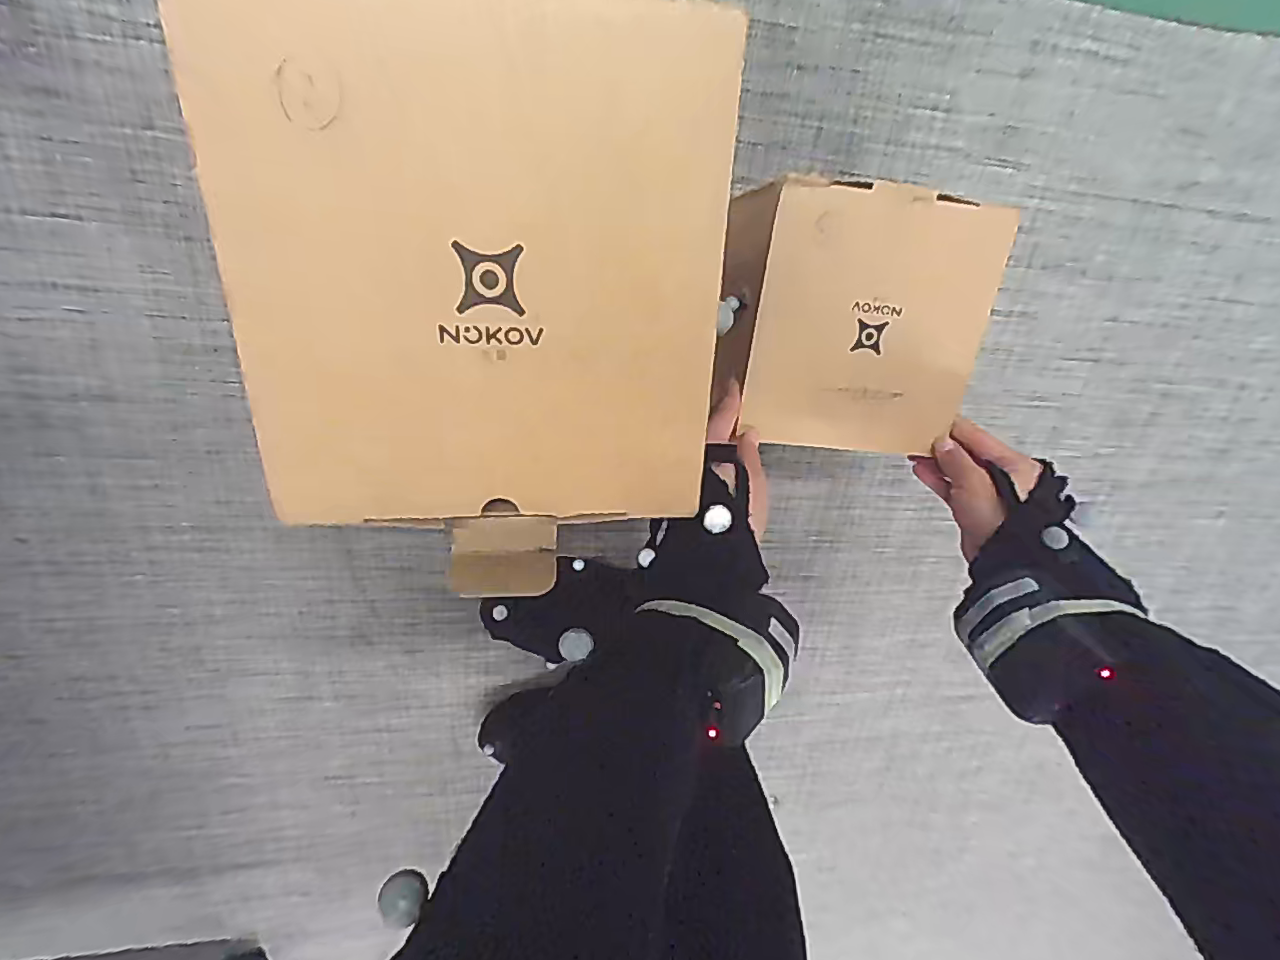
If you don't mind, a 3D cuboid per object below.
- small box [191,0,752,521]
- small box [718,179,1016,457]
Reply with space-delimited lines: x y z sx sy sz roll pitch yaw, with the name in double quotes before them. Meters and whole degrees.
"small box" -0.061 -0.095 0.262 0.168 0.176 0.179 -1 112 -9
"small box" 0.155 -0.132 0.452 0.168 0.176 0.179 4 111 -6
